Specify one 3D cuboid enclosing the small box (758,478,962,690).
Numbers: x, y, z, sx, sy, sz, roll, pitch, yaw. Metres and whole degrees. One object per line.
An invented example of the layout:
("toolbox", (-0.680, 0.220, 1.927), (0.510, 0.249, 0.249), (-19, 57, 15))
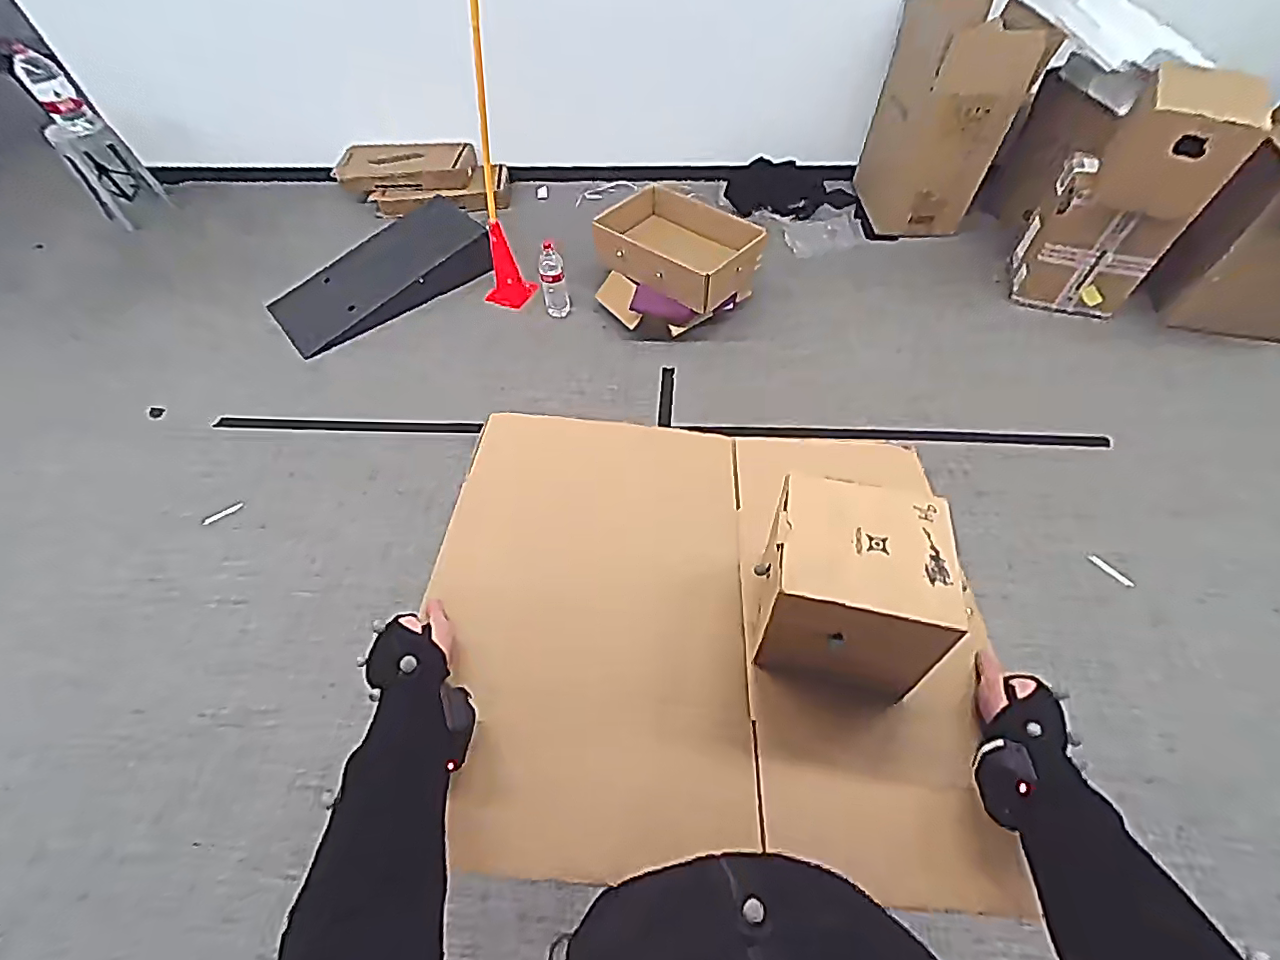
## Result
("small box", (0.240, 0.124, 0.630), (0.179, 0.176, 0.168), (10, 49, 10))
